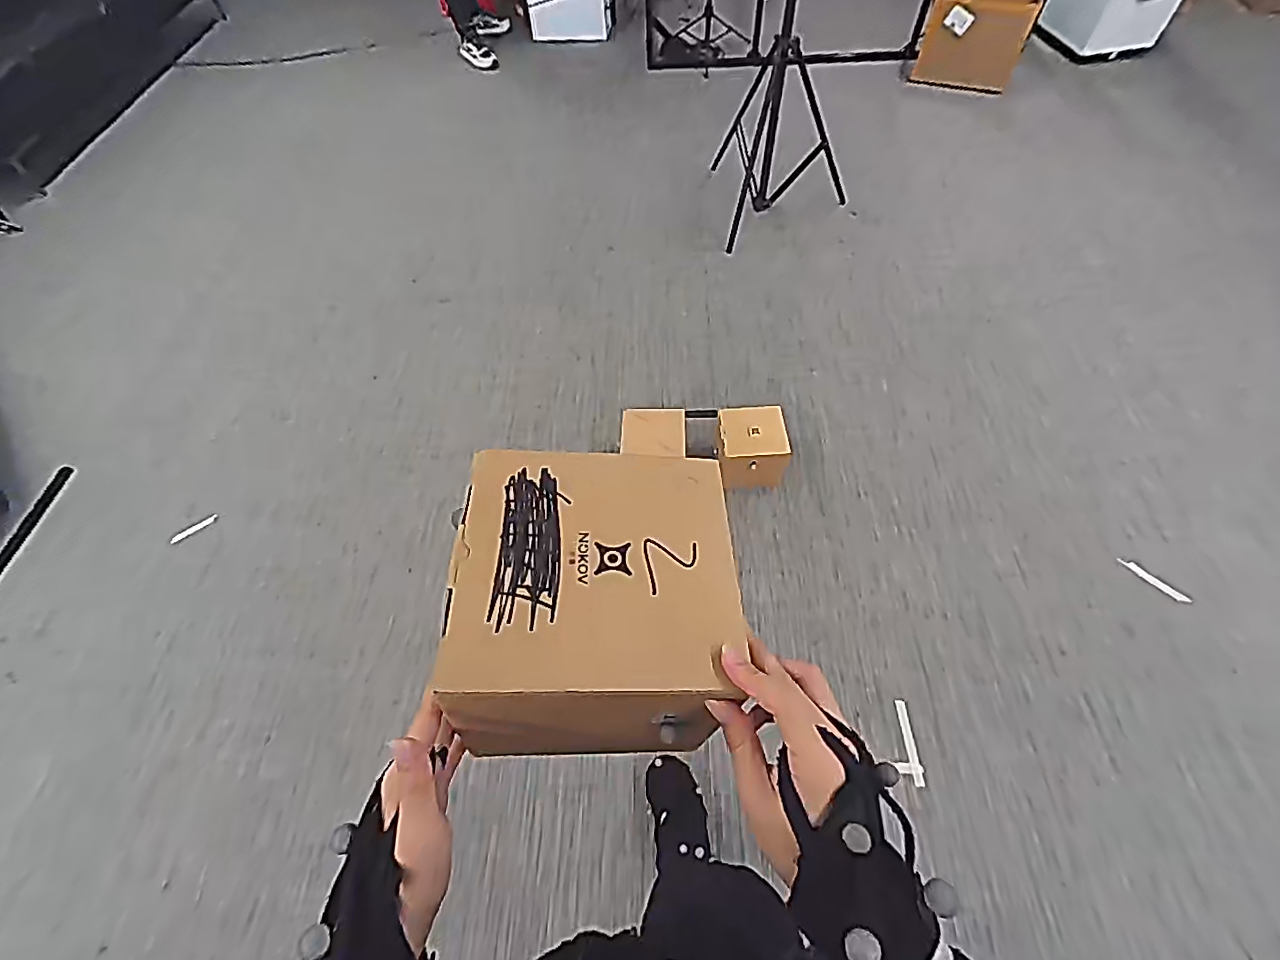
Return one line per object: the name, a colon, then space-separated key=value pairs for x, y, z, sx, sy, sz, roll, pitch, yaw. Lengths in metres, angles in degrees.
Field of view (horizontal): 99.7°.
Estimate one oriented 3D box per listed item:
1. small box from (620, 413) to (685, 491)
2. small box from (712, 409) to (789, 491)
small box: x=0.039 y=-0.080 z=1.547 sx=0.179 sy=0.176 sz=0.168 roll=1 pitch=58 yaw=3
small box: x=0.308 y=-0.082 z=1.539 sx=0.179 sy=0.176 sz=0.168 roll=-4 pitch=57 yaw=0
